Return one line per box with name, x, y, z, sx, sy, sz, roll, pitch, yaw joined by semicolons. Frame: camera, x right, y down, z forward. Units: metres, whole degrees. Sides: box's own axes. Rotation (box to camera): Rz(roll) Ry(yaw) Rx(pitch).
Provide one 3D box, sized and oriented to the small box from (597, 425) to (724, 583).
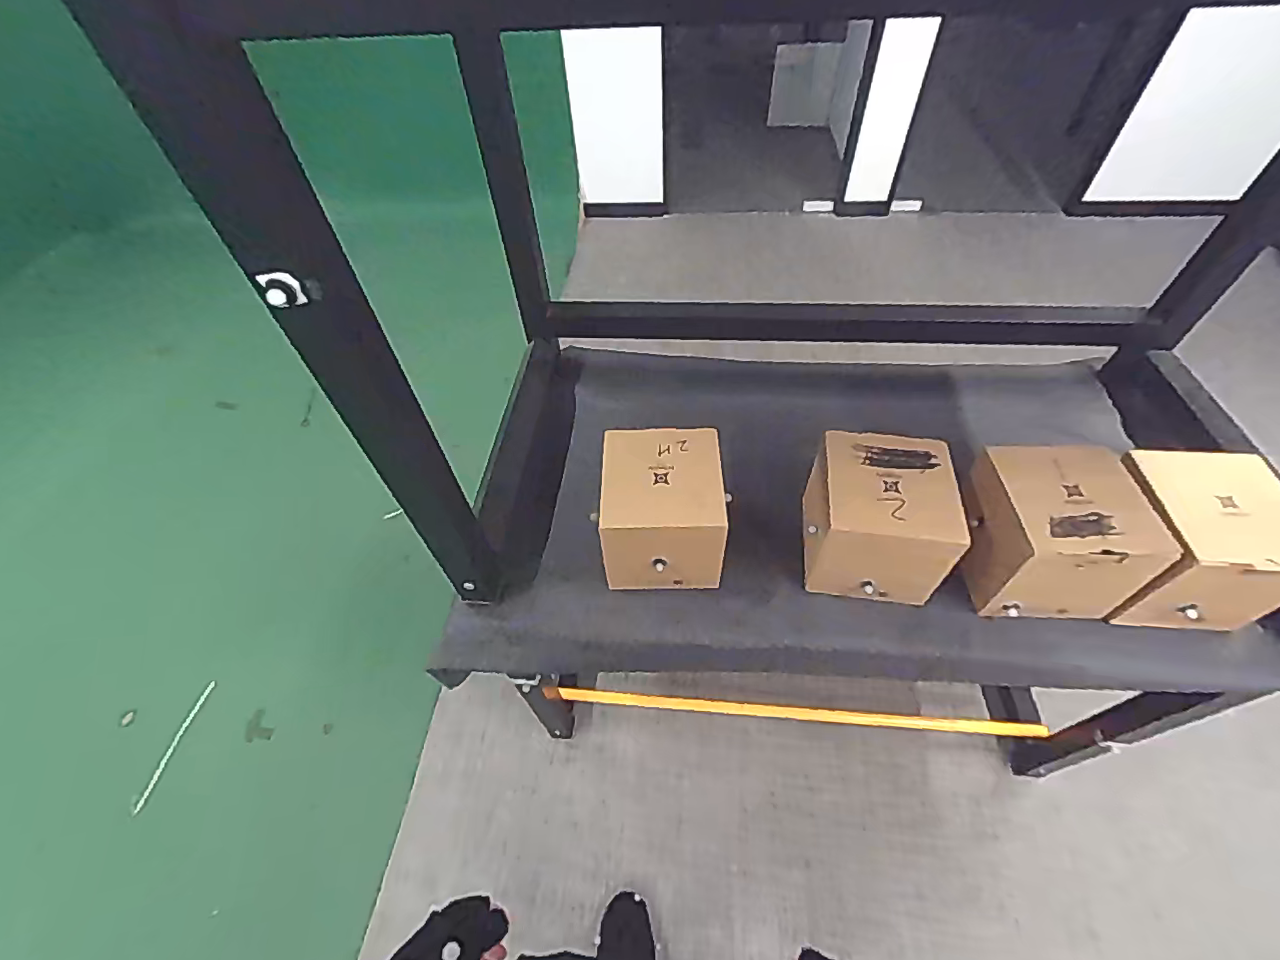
small box;0.031;0.040;0.796;0.168;0.176;0.179;-1;50;2
